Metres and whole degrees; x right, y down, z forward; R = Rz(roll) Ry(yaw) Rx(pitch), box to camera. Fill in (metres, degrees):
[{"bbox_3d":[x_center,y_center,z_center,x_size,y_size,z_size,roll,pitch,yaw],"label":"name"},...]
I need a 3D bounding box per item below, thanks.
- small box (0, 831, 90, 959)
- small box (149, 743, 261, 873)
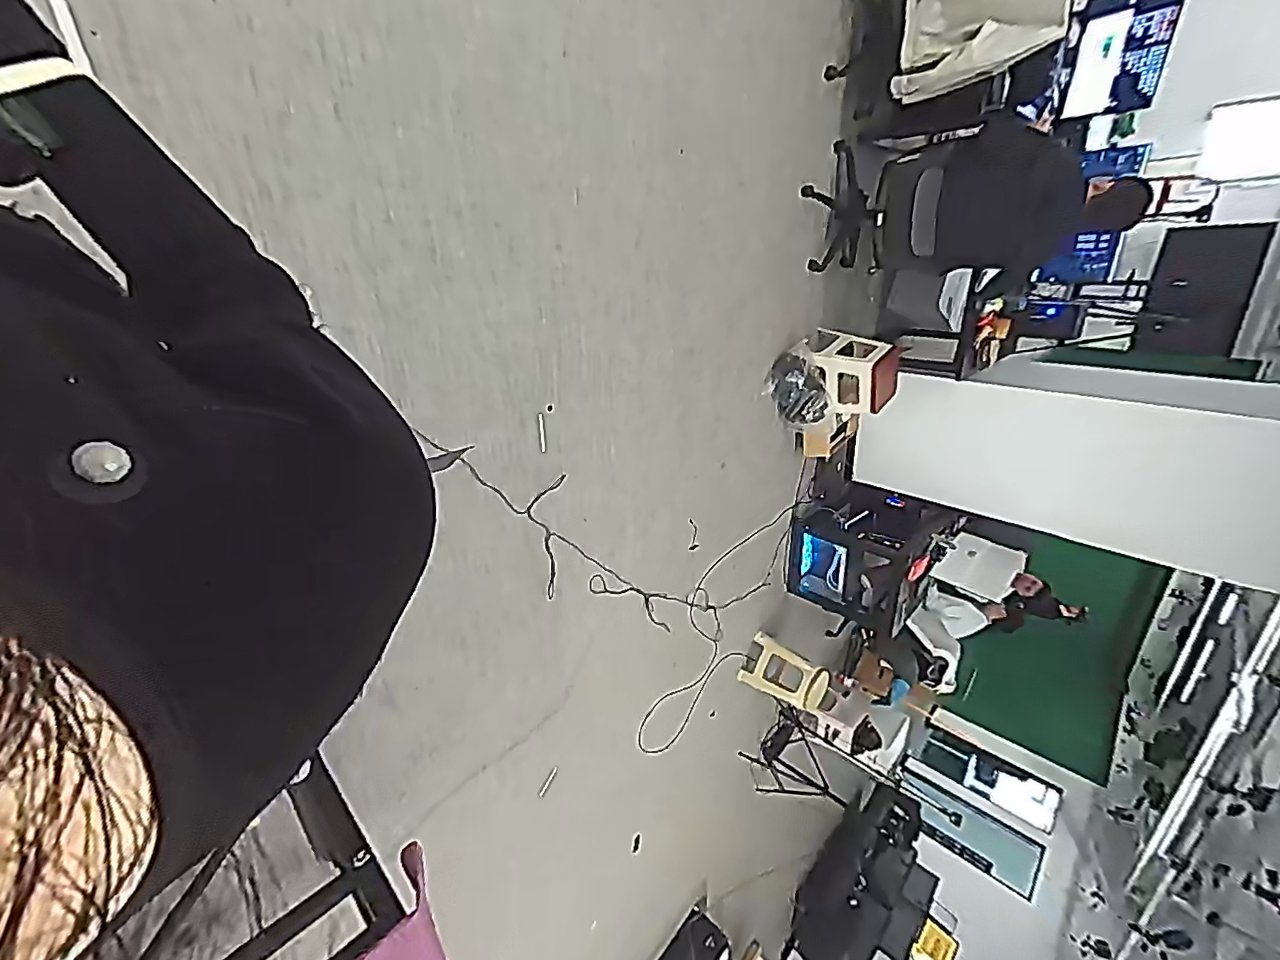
[{"bbox_3d":[-1.288,0.884,1.119,0.168,0.176,0.179,-25,121,-41],"label":"small box"},{"bbox_3d":[-1.069,0.796,1.331,0.168,0.176,0.179,-23,121,-41],"label":"small box"}]
